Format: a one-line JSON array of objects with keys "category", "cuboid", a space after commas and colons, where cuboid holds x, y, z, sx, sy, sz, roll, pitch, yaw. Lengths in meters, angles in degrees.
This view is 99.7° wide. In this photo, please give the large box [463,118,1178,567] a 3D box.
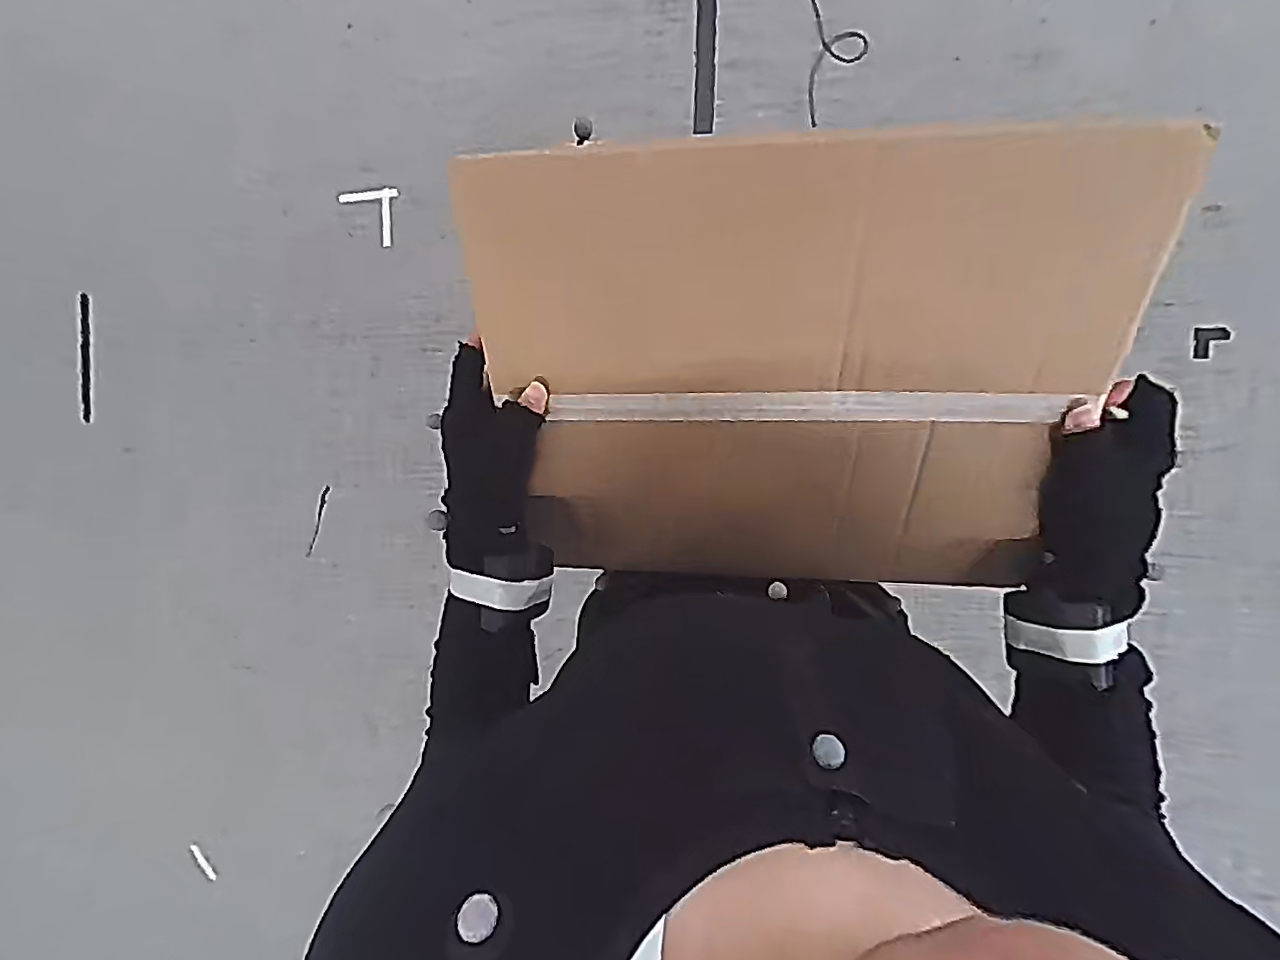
[{"category": "large box", "cuboid": [0.109, -0.140, 0.509, 0.408, 0.320, 0.320, 2, 124, 7]}]
